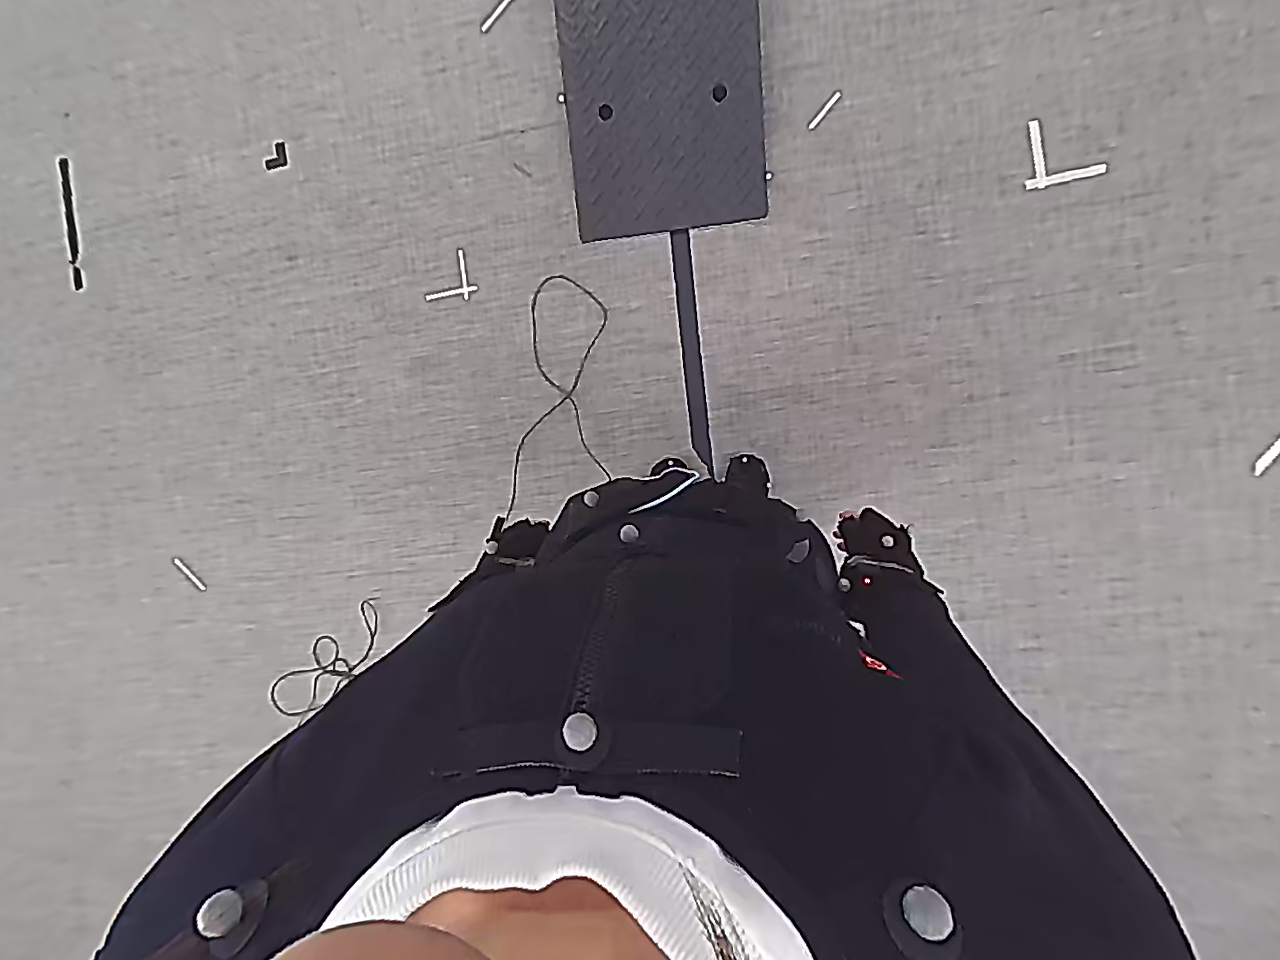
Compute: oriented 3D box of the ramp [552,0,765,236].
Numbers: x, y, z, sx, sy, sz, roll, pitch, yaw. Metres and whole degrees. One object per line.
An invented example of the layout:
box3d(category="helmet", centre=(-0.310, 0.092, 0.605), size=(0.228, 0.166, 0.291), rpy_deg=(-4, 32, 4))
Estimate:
box3d(category="ramp", centre=(0.031, -1.148, 1.295), size=(0.509, 0.206, 0.991), rpy_deg=(-6, 93, 7))
